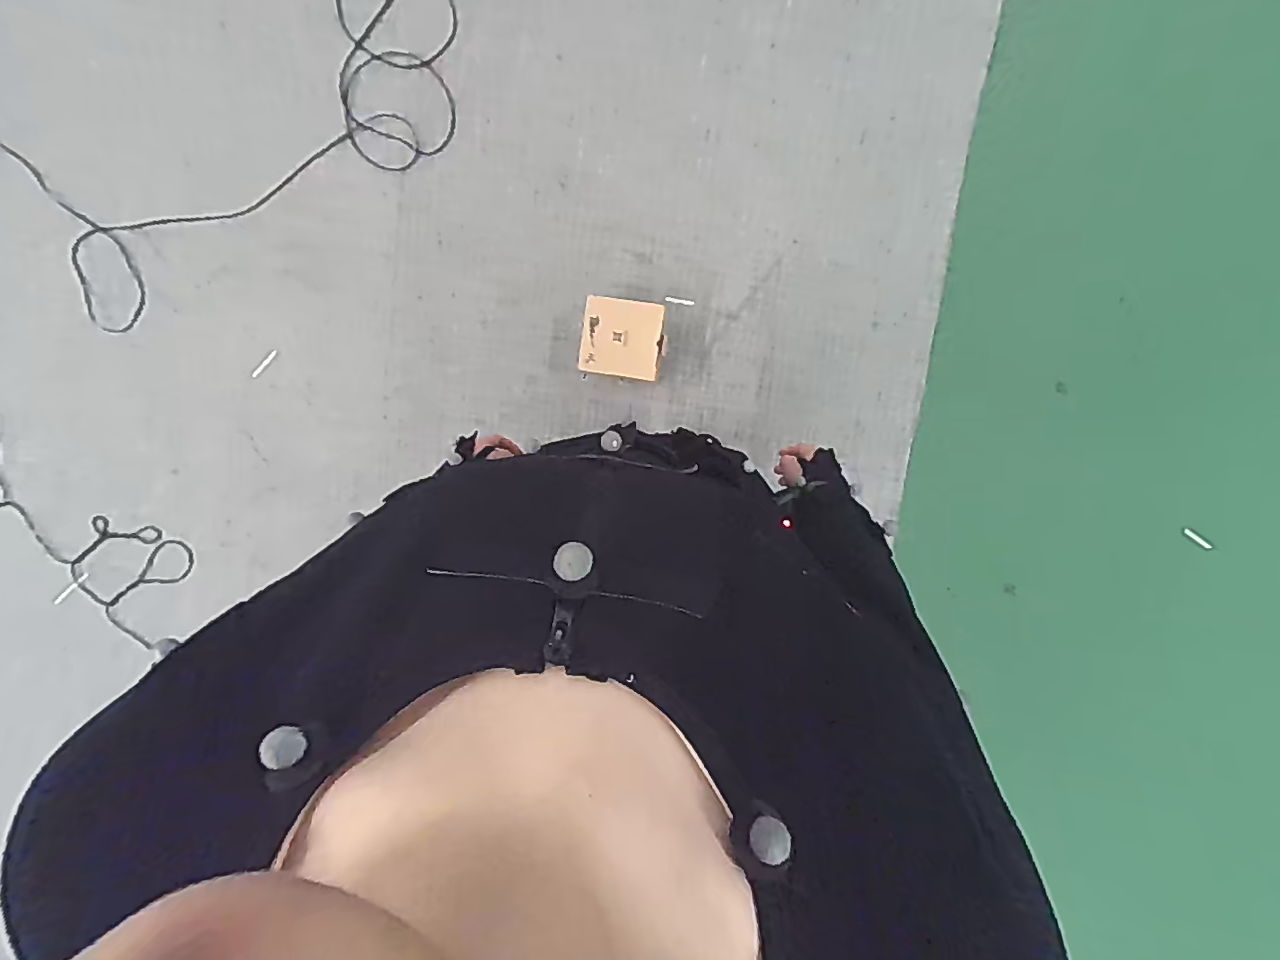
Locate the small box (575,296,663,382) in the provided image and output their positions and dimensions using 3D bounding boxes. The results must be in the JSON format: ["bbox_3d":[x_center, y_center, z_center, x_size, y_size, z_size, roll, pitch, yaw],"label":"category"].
[{"bbox_3d":[-0.043,-0.321,1.262,0.179,0.176,0.168,8,98,3],"label":"small box"}]
